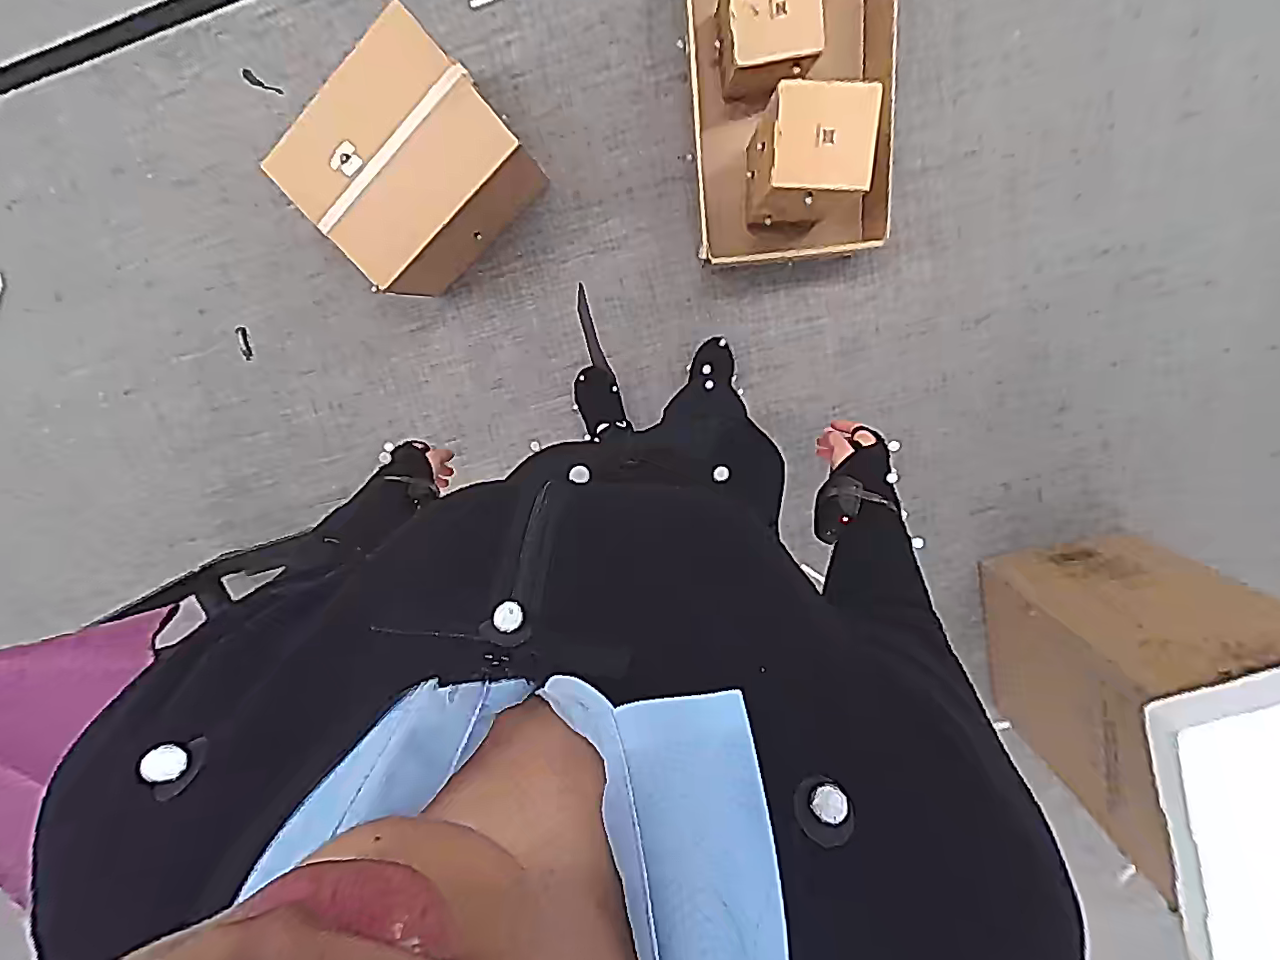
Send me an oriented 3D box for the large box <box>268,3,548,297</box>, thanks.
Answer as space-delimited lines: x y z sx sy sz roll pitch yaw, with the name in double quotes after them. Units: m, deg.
-0.464 -0.652 1.163 0.408 0.320 0.320 -41 100 13 "large box"
